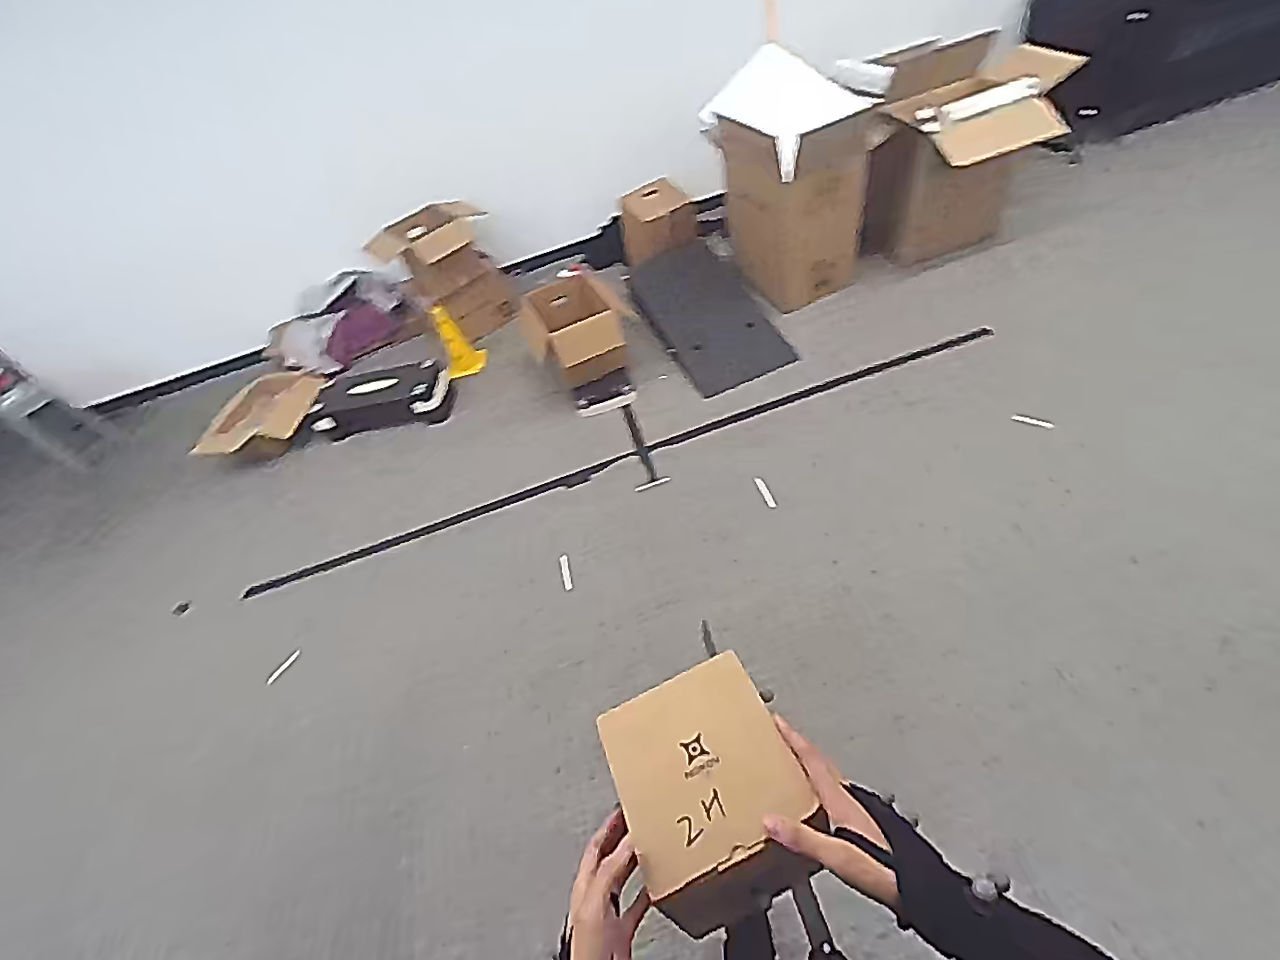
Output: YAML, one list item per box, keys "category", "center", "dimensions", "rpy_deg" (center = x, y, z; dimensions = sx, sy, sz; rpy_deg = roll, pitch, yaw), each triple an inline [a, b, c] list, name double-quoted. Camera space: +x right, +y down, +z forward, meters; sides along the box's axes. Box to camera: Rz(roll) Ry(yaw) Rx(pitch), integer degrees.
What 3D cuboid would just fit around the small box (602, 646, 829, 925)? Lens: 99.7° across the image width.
- category: "small box"
  center: [0.079, 0.318, 0.568]
  dimensions: [0.168, 0.176, 0.179]
  rpy_deg: [-25, 40, -4]
